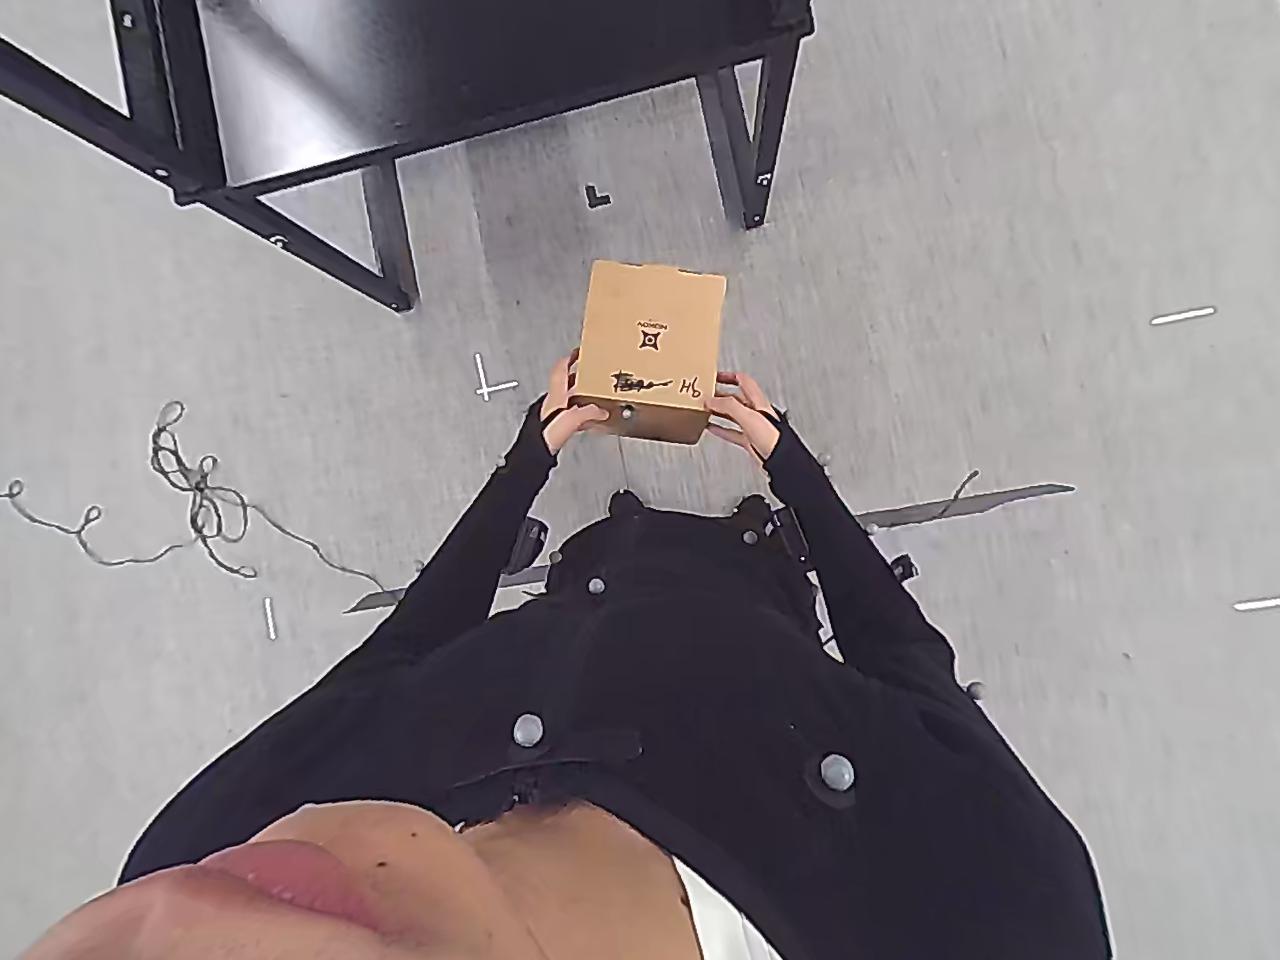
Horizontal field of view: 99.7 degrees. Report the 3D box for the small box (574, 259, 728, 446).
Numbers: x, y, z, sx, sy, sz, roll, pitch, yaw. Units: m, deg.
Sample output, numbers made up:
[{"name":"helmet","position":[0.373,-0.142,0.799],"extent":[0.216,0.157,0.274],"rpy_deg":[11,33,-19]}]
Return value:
[{"name":"small box","position":[0.013,-0.158,0.717],"extent":[0.168,0.176,0.179],"rpy_deg":[8,79,1]}]
